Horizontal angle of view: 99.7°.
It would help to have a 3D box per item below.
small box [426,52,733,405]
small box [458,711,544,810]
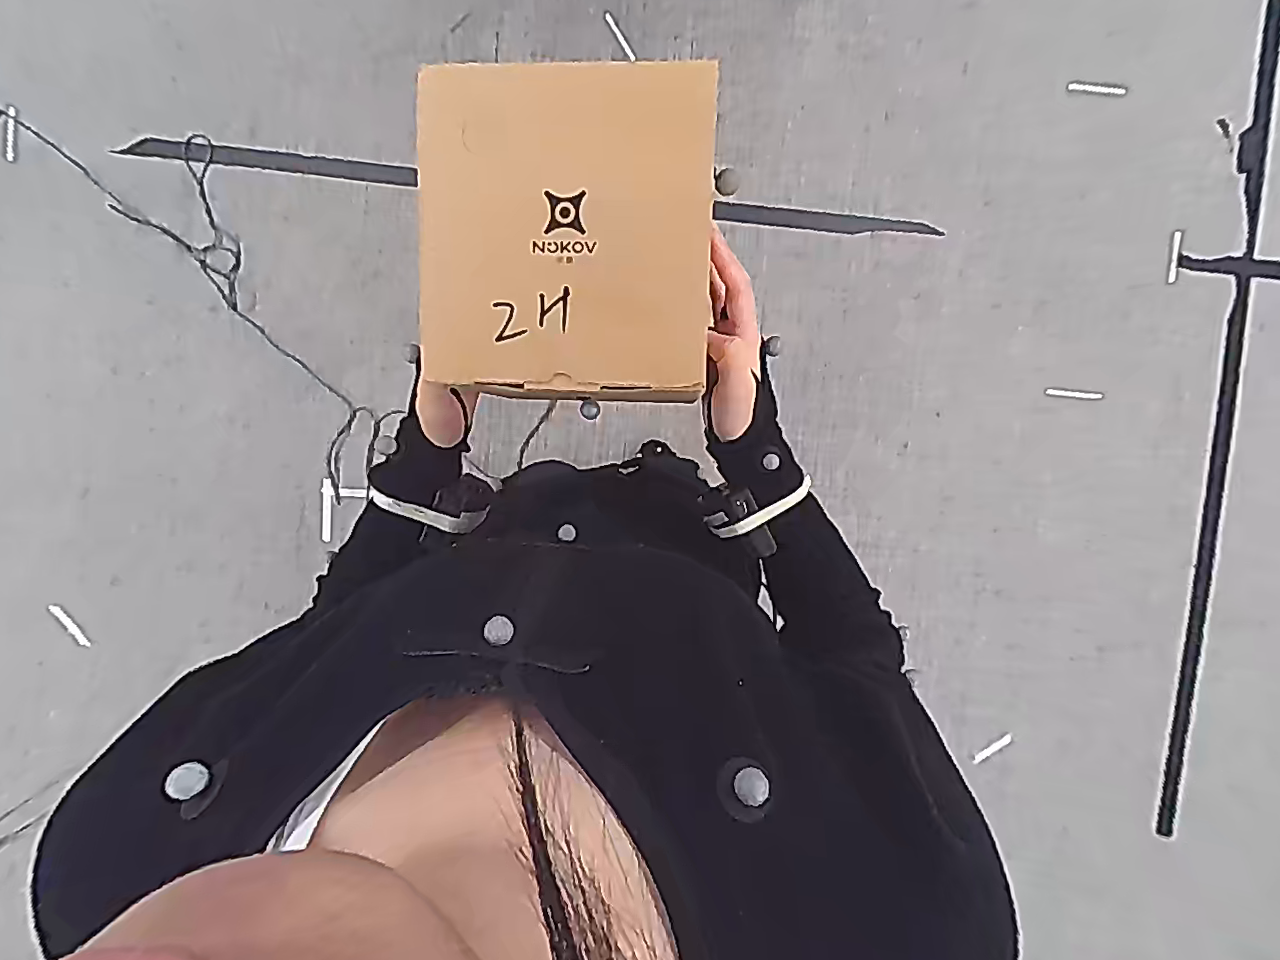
[{"bbox_3d":[-0.031,-0.147,0.374,0.168,0.176,0.179,2,95,4],"label":"small box"},{"bbox_3d":[-0.360,0.730,1.422,0.179,0.176,0.168,7,93,-2],"label":"small box"}]
